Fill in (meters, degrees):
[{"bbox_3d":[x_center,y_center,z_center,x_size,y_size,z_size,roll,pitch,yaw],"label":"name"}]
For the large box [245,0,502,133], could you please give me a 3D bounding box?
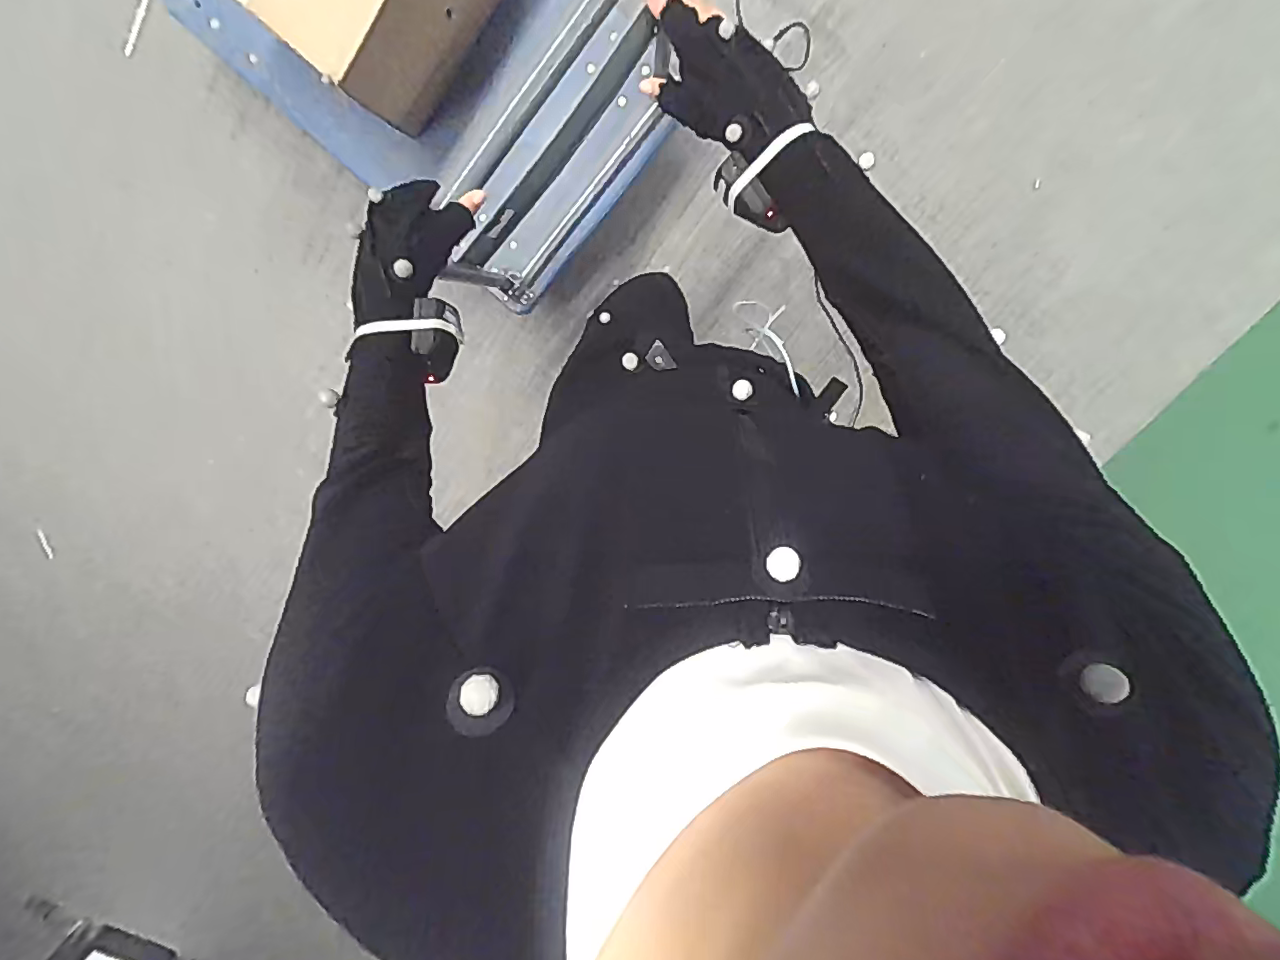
[{"bbox_3d":[-0.430,-0.880,0.872,0.320,0.320,0.408,38,106,-11],"label":"large box"}]
